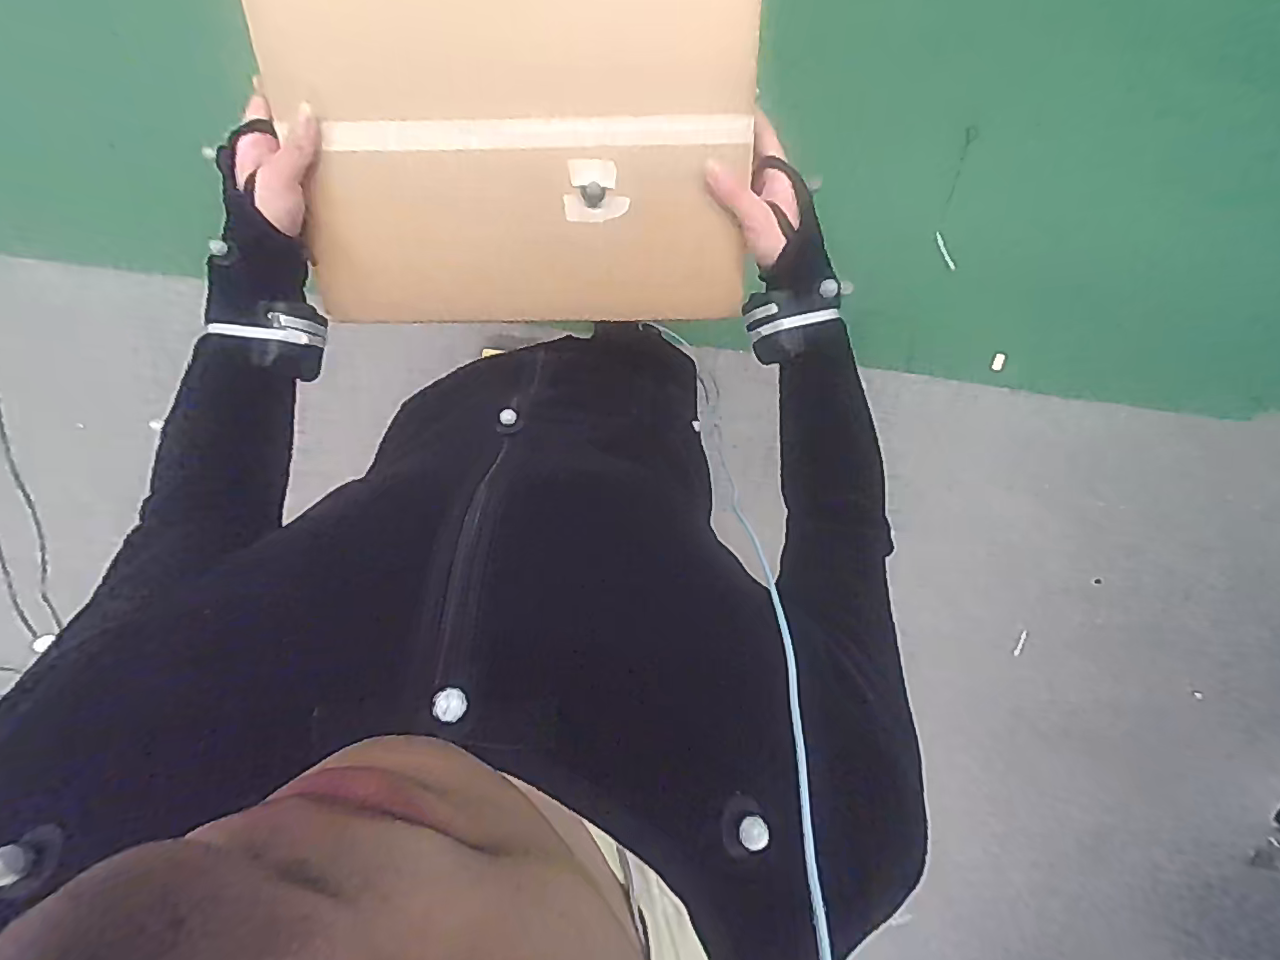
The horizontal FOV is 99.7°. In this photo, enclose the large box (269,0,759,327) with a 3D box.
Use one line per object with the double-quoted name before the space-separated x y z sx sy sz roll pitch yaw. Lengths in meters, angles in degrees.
"large box" -0.102 -0.362 0.612 0.408 0.320 0.320 -1 116 0
